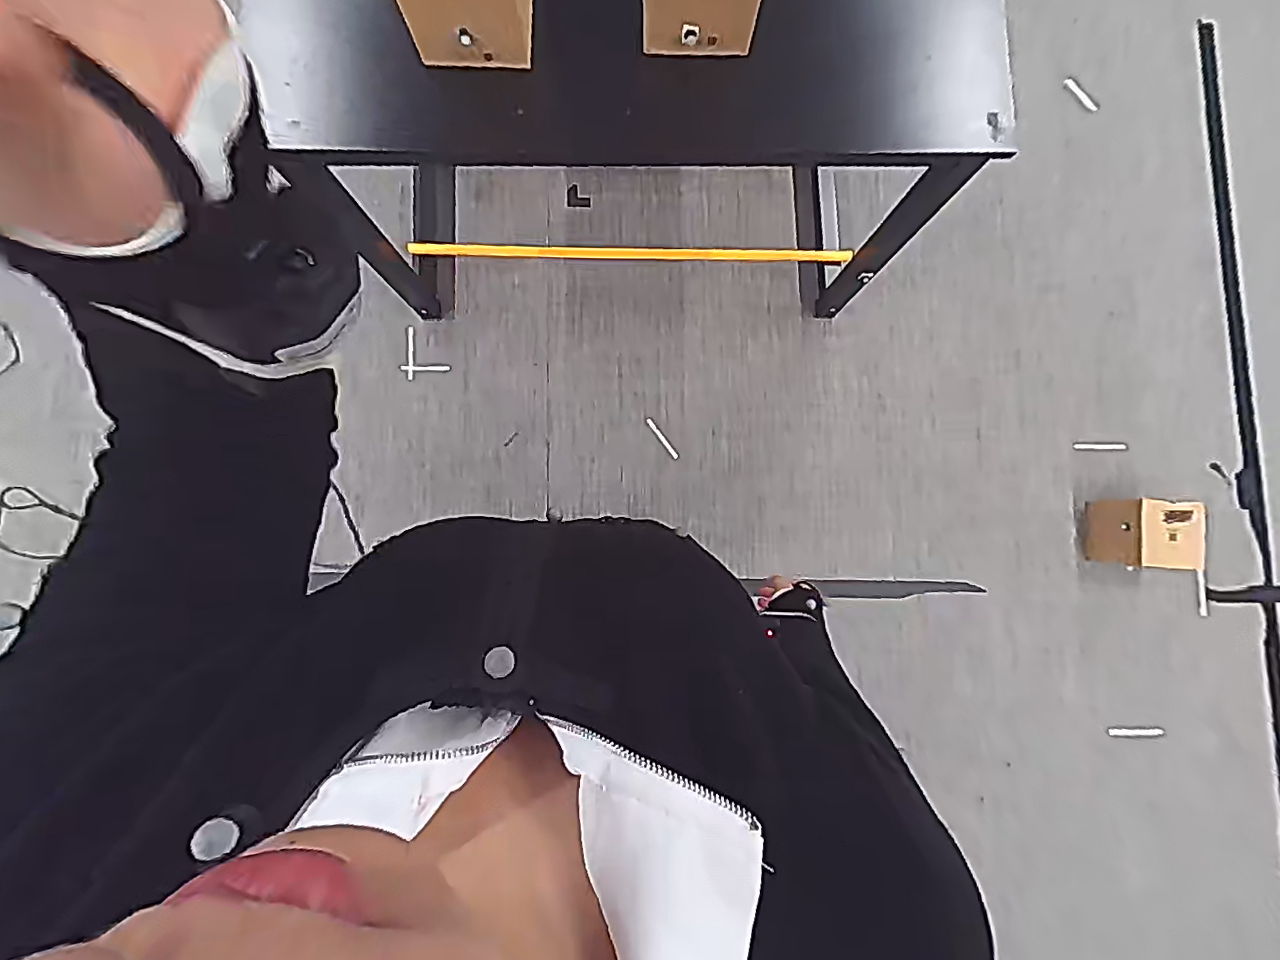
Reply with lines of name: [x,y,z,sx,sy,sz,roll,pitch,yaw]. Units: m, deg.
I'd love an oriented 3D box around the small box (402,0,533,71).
small box: [-0.248,-0.730,0.763,0.168,0.176,0.179,1,85,-1]

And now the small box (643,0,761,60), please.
small box: [0.088,-0.756,0.778,0.168,0.176,0.179,-2,86,-1]

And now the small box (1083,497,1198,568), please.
small box: [1.352,0.141,1.471,0.168,0.176,0.179,4,86,-1]
